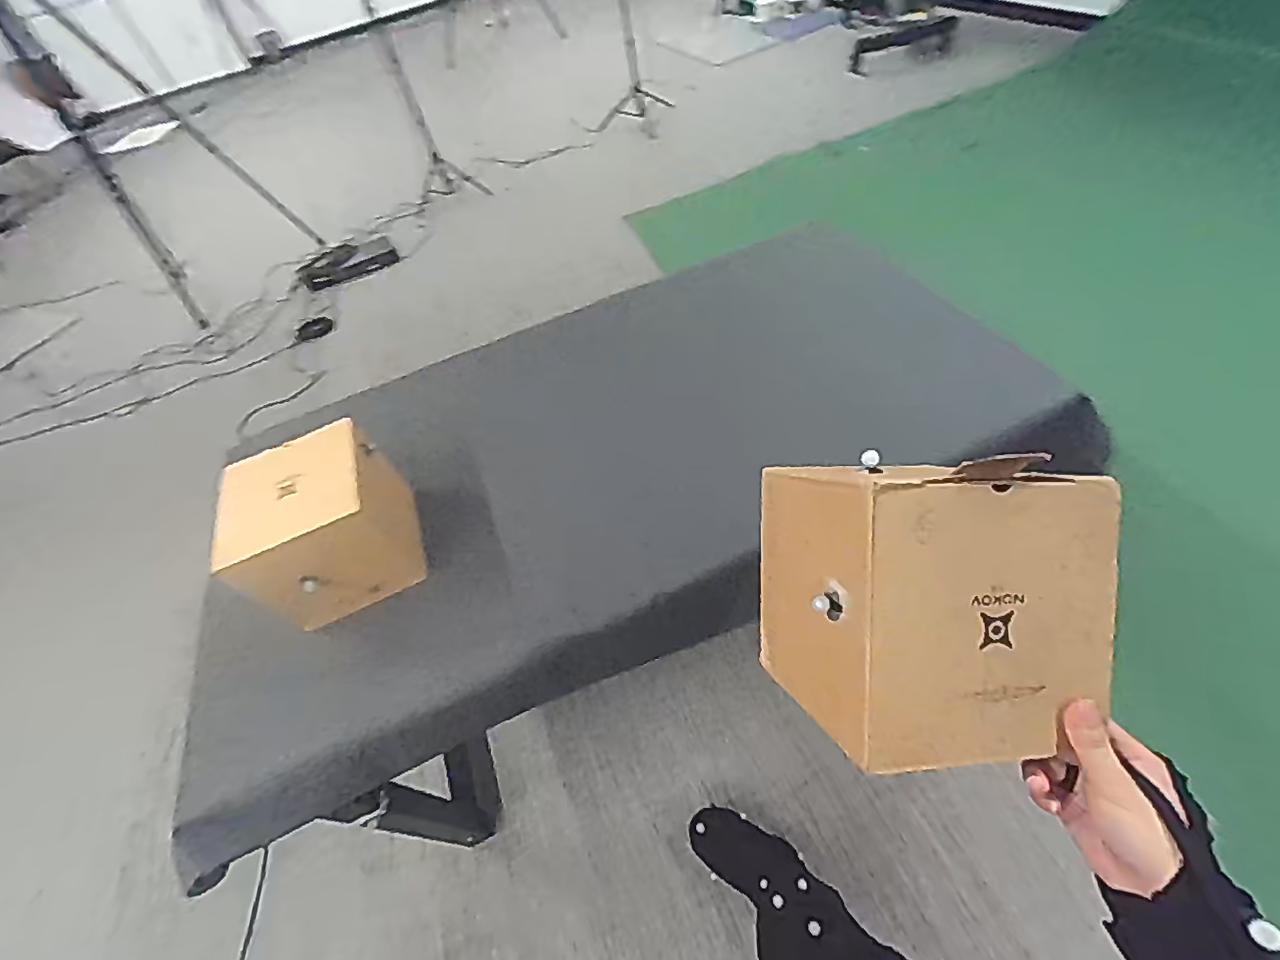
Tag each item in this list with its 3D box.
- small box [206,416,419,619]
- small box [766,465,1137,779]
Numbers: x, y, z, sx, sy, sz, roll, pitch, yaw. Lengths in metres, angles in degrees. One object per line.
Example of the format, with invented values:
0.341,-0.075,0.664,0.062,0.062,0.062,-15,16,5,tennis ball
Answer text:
-0.406,0.056,0.696,0.168,0.176,0.179,-25,50,-8,small box
0.200,0.079,0.393,0.168,0.176,0.179,0,94,-9,small box
